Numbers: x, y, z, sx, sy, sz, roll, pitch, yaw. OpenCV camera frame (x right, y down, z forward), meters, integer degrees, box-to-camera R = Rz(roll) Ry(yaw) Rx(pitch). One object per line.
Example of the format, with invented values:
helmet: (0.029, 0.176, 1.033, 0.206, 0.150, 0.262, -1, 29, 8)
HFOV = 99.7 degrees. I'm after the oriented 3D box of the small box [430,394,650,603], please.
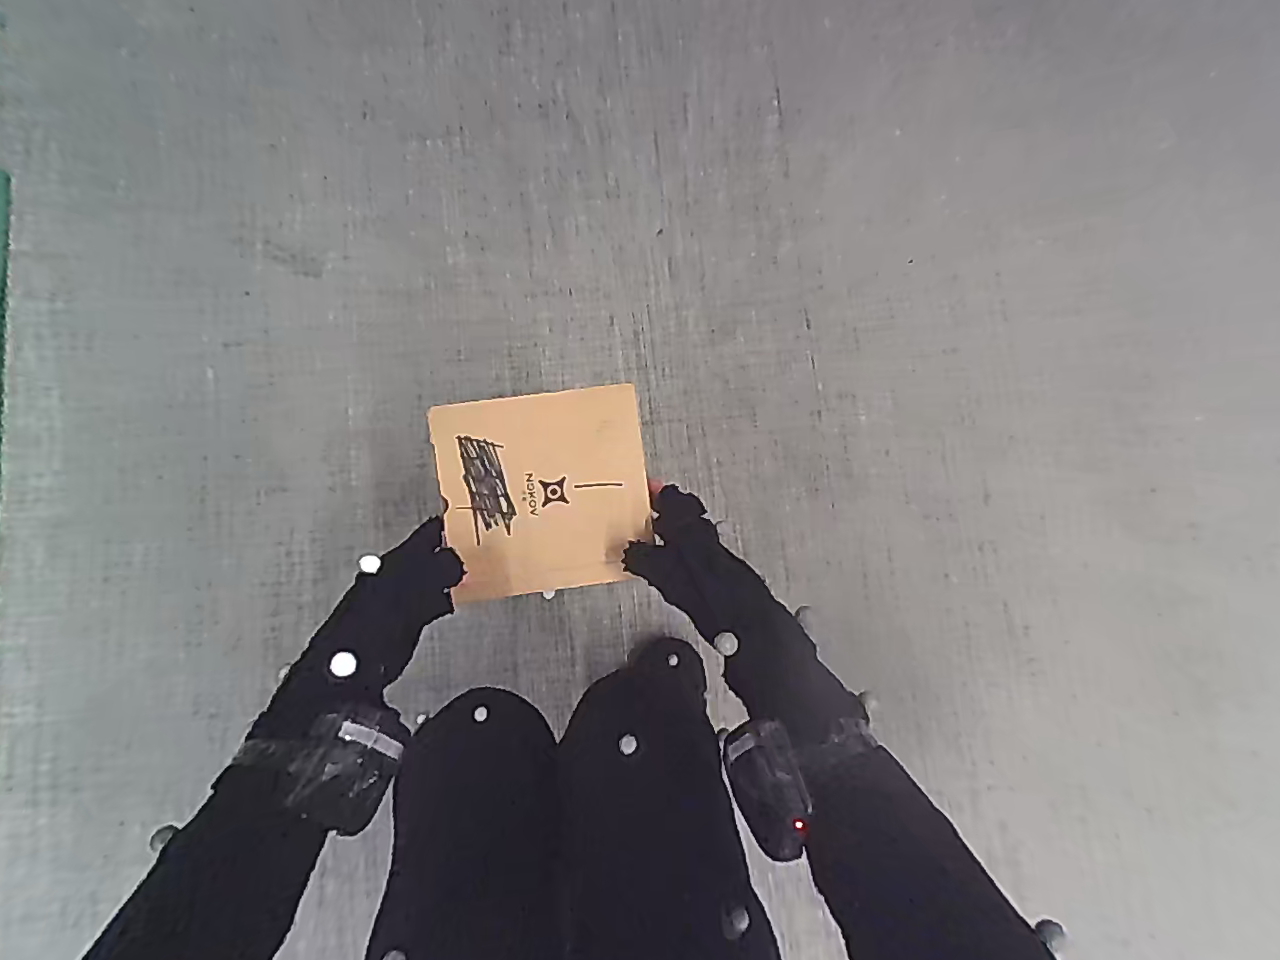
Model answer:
small box: (-0.086, 0.019, 0.539, 0.179, 0.176, 0.168, -7, 88, -2)
